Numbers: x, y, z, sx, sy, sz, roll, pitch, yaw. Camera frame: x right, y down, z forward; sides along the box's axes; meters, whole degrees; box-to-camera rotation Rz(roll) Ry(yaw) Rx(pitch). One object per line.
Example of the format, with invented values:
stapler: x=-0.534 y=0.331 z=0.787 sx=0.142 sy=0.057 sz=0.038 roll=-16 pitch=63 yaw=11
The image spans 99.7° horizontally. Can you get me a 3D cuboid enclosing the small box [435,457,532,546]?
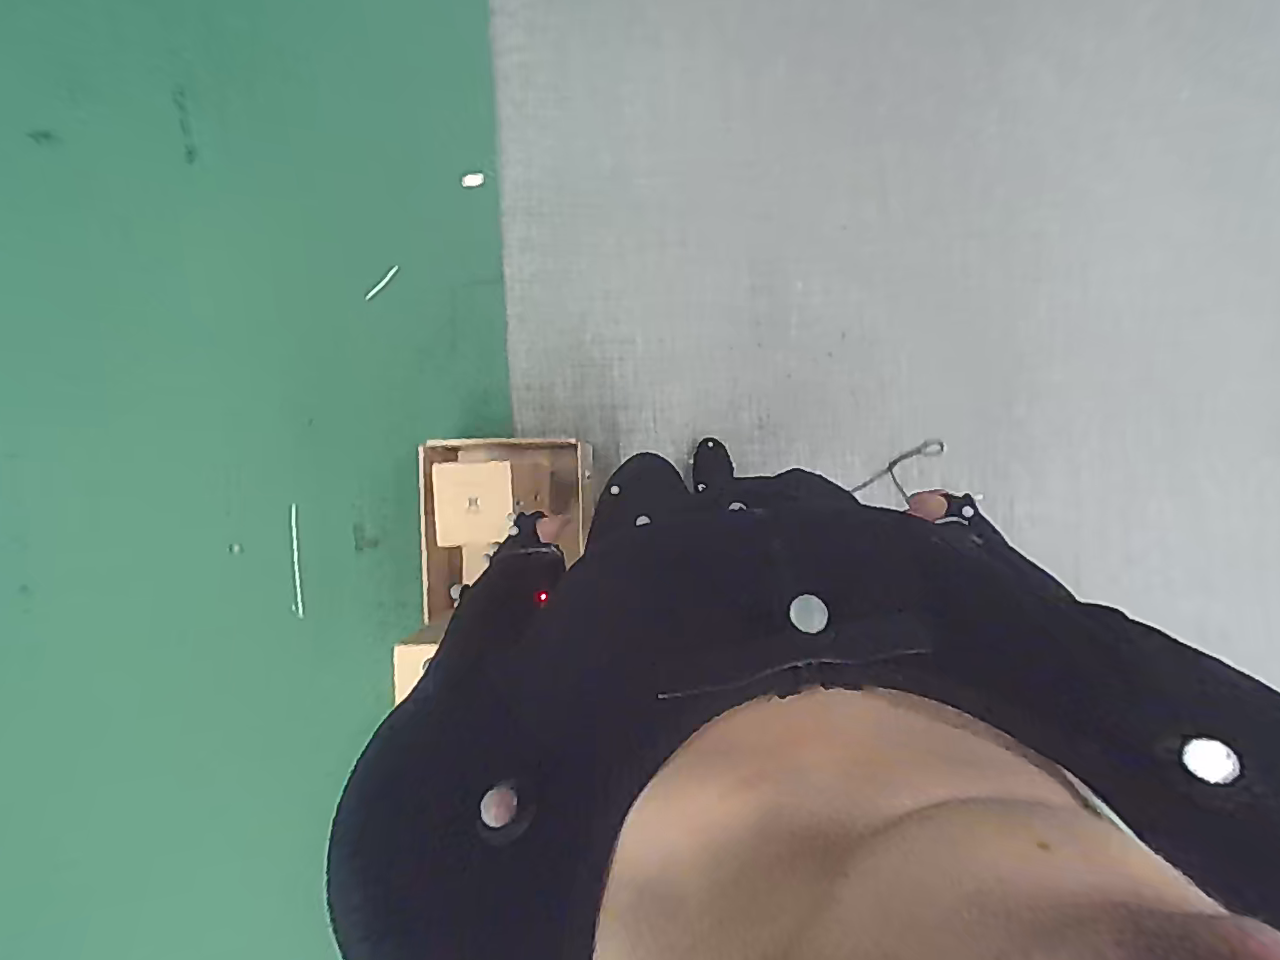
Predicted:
small box: x=-0.340 y=0.042 z=1.204 sx=0.168 sy=0.176 sz=0.179 roll=-3 pitch=93 yaw=0

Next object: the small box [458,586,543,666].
small box: x=-0.348 y=0.370 z=1.382 sx=0.179 sy=0.176 sz=0.168 roll=-2 pitch=92 yaw=2
